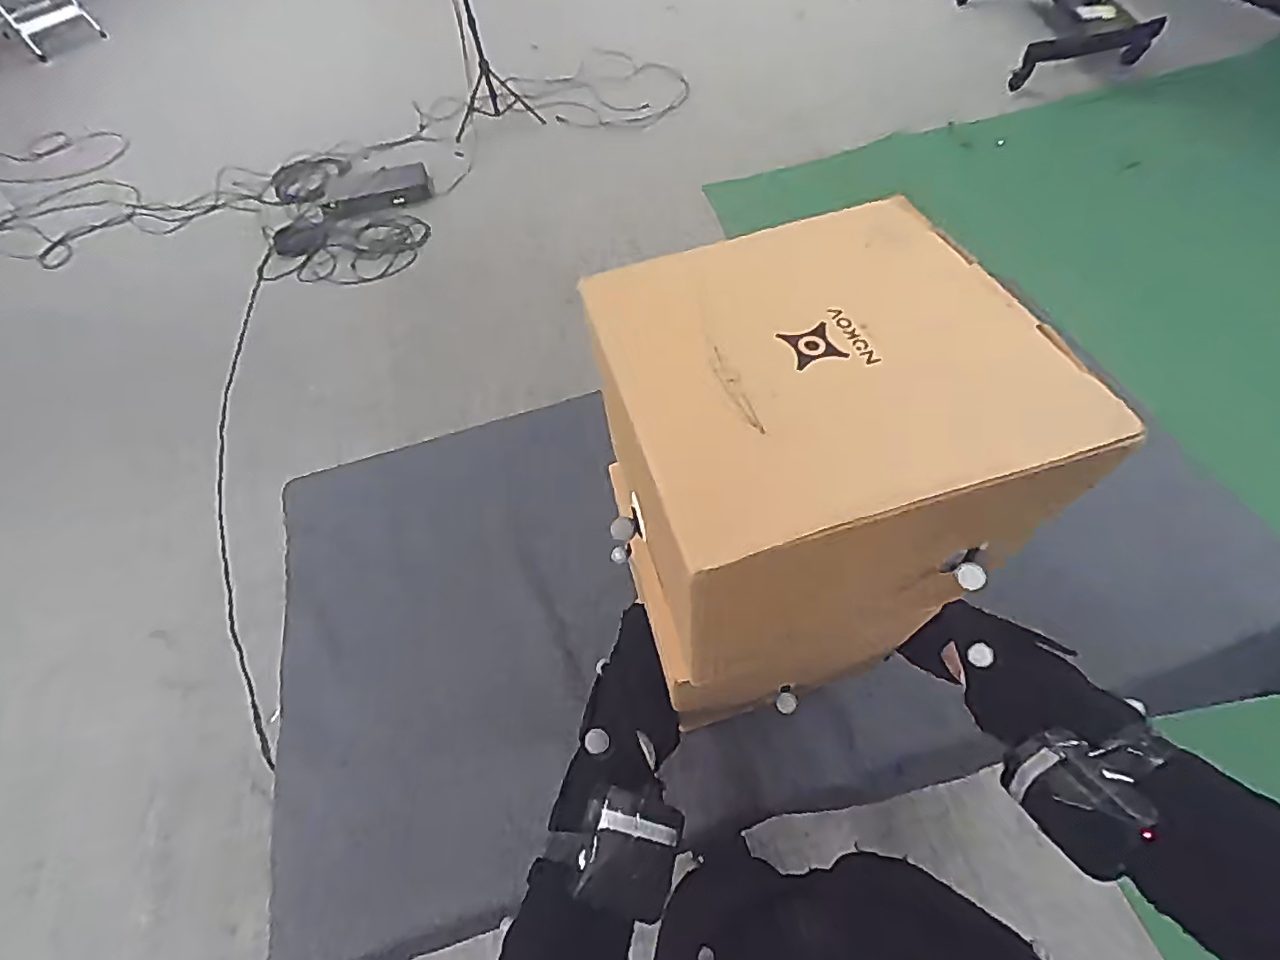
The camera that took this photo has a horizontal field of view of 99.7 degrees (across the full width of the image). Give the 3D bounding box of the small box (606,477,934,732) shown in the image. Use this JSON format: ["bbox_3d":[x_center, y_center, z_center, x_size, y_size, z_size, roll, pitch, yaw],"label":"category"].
[{"bbox_3d":[0.085,0.083,0.435,0.179,0.176,0.168,-18,57,-5],"label":"small box"}]

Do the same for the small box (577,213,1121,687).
[{"bbox_3d":[0.080,-0.007,0.299,0.179,0.176,0.168,-18,56,-4],"label":"small box"}]
